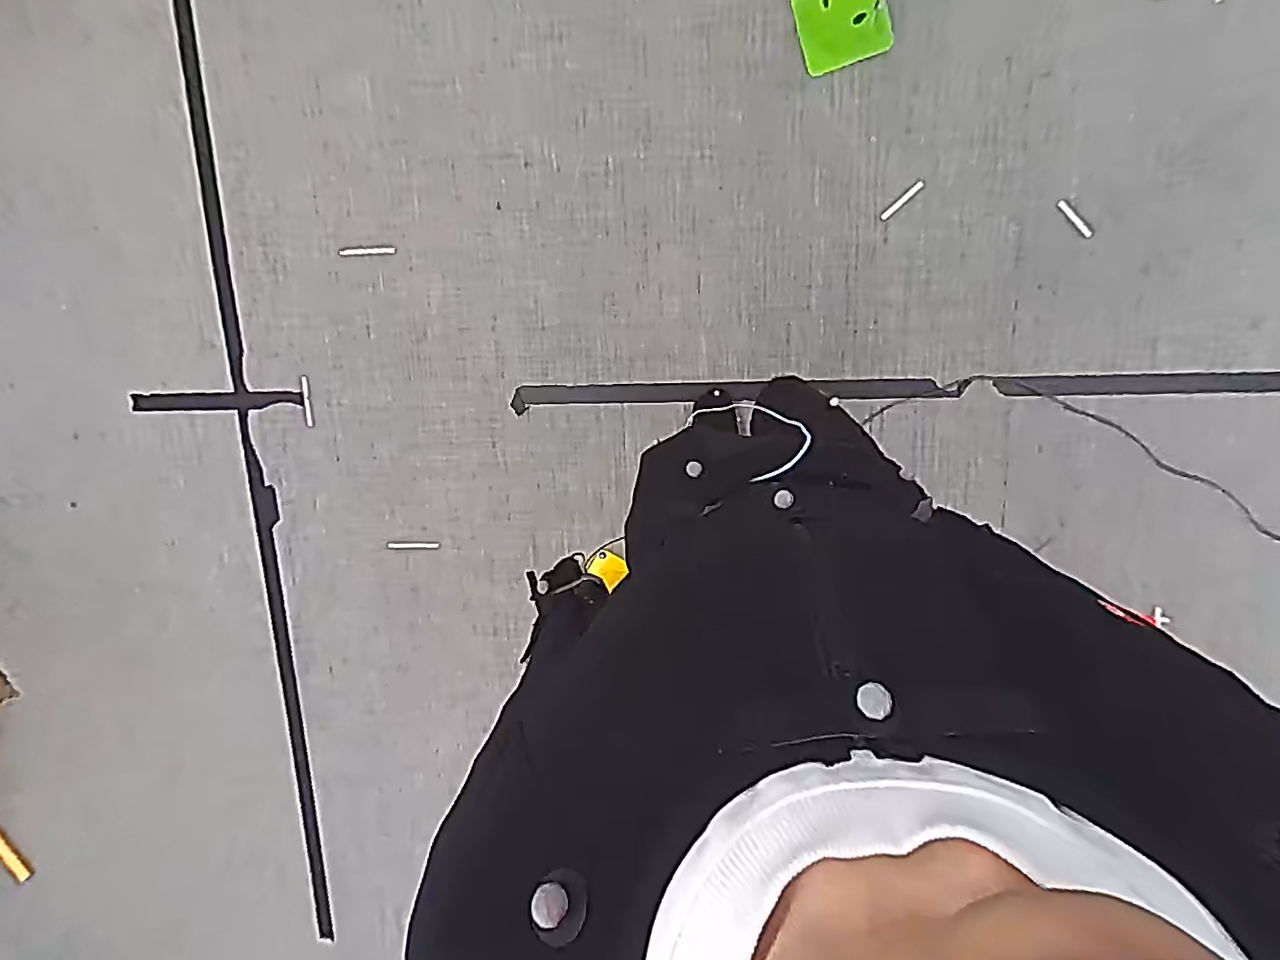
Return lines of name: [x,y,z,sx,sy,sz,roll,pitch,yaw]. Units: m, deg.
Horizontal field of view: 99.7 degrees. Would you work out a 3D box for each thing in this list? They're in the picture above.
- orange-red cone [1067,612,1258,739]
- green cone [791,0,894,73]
orange-red cone: [1.204,0.468,1.229,0.199,0.360,0.198,7,99,5]
green cone: [0.452,-1.036,1.071,0.202,0.368,0.200,-17,97,6]
